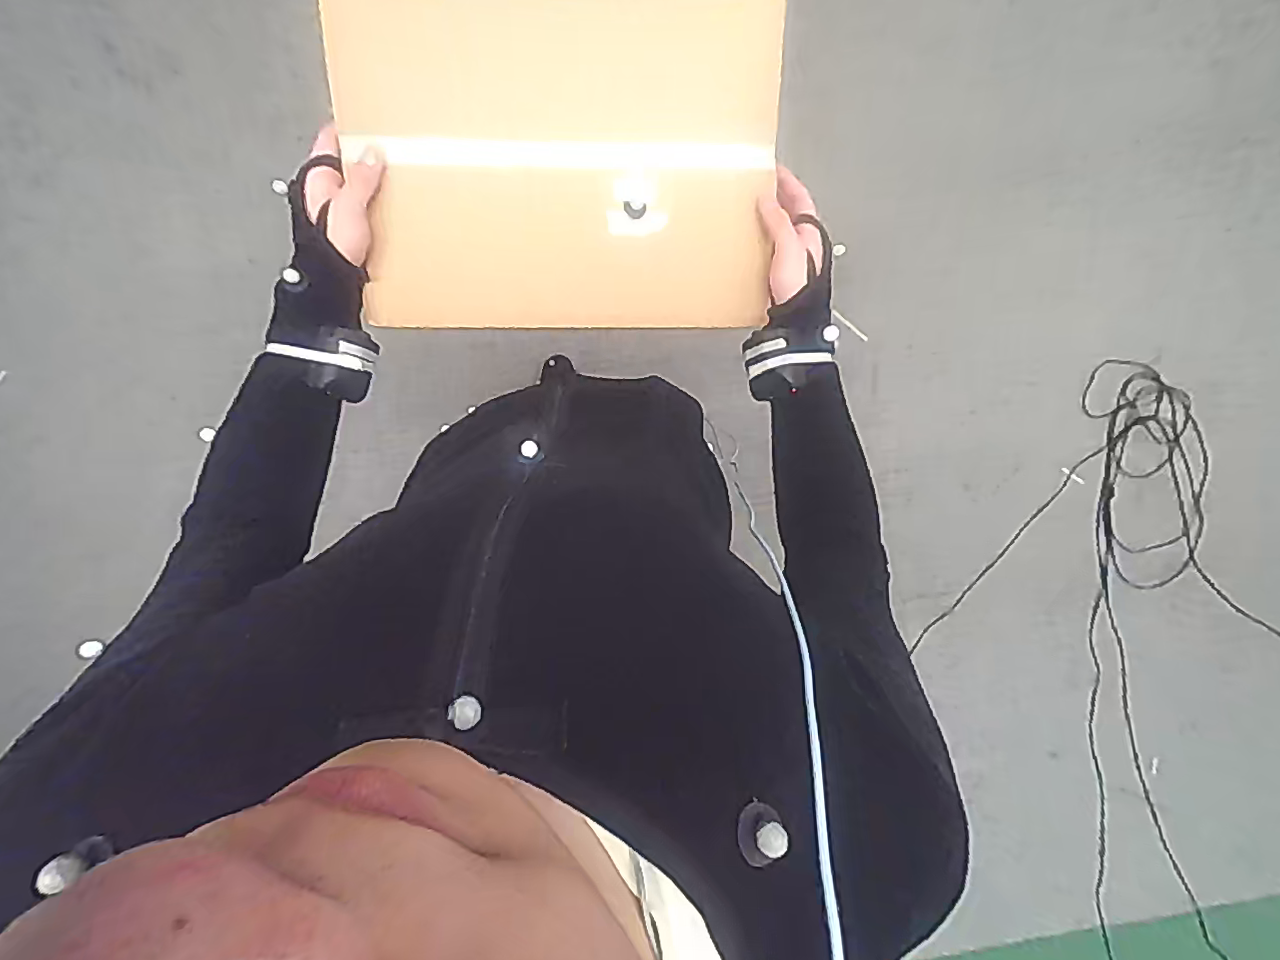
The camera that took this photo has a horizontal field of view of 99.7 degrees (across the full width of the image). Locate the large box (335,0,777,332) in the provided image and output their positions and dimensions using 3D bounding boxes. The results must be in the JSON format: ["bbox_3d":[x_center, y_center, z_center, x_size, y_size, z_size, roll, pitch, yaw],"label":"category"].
[{"bbox_3d":[-0.083,-0.350,0.665,0.408,0.320,0.320,-1,107,-5],"label":"large box"}]
